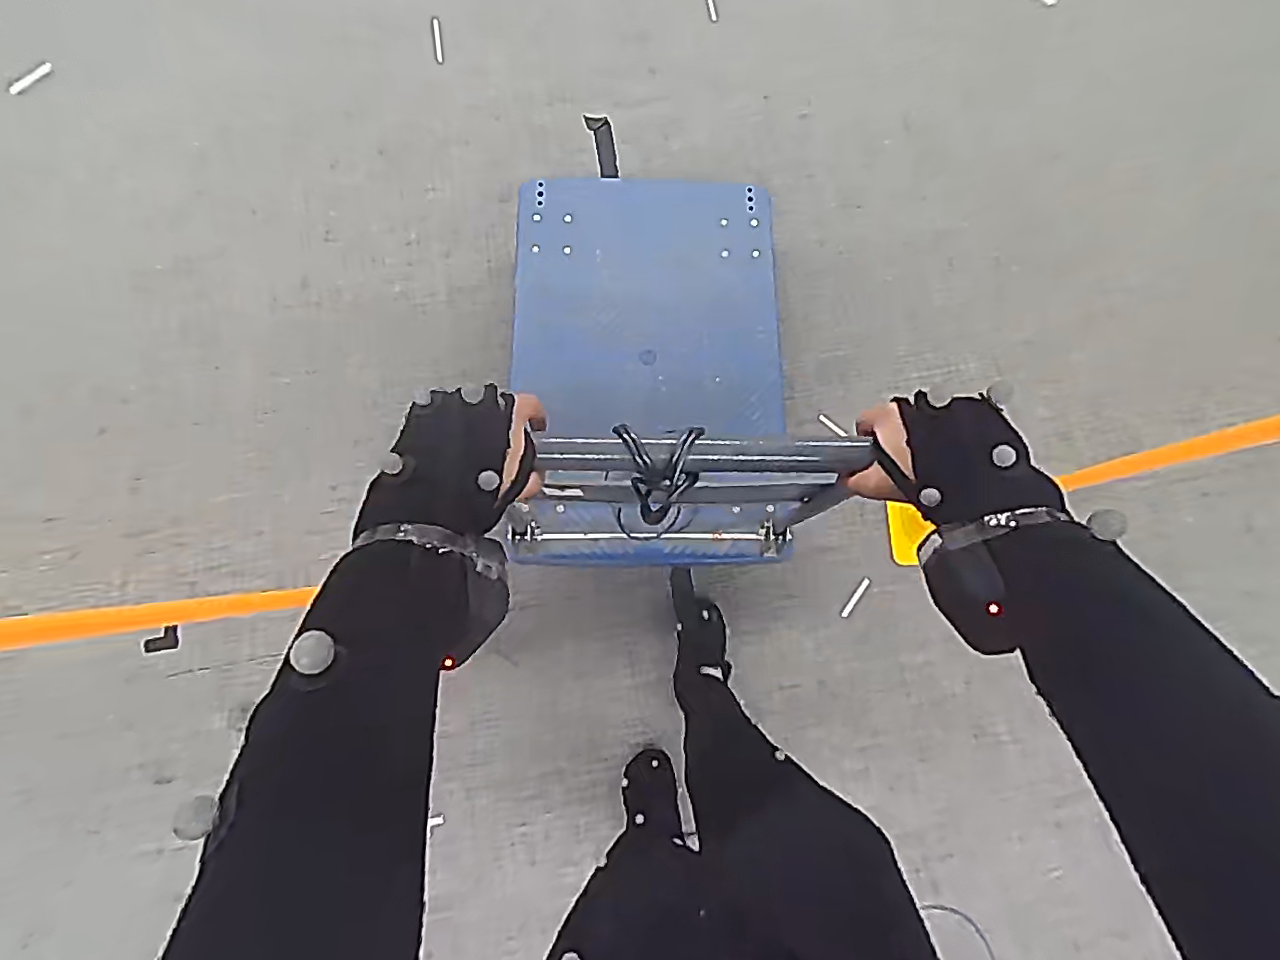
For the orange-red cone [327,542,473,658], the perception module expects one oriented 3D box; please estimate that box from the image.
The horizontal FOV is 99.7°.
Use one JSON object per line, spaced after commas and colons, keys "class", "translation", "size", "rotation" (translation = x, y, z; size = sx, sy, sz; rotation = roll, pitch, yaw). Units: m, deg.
{"class": "orange-red cone", "translation": [-0.483, 0.220, 1.017], "size": [0.198, 0.360, 0.199], "rotation": [35, 77, 5]}
